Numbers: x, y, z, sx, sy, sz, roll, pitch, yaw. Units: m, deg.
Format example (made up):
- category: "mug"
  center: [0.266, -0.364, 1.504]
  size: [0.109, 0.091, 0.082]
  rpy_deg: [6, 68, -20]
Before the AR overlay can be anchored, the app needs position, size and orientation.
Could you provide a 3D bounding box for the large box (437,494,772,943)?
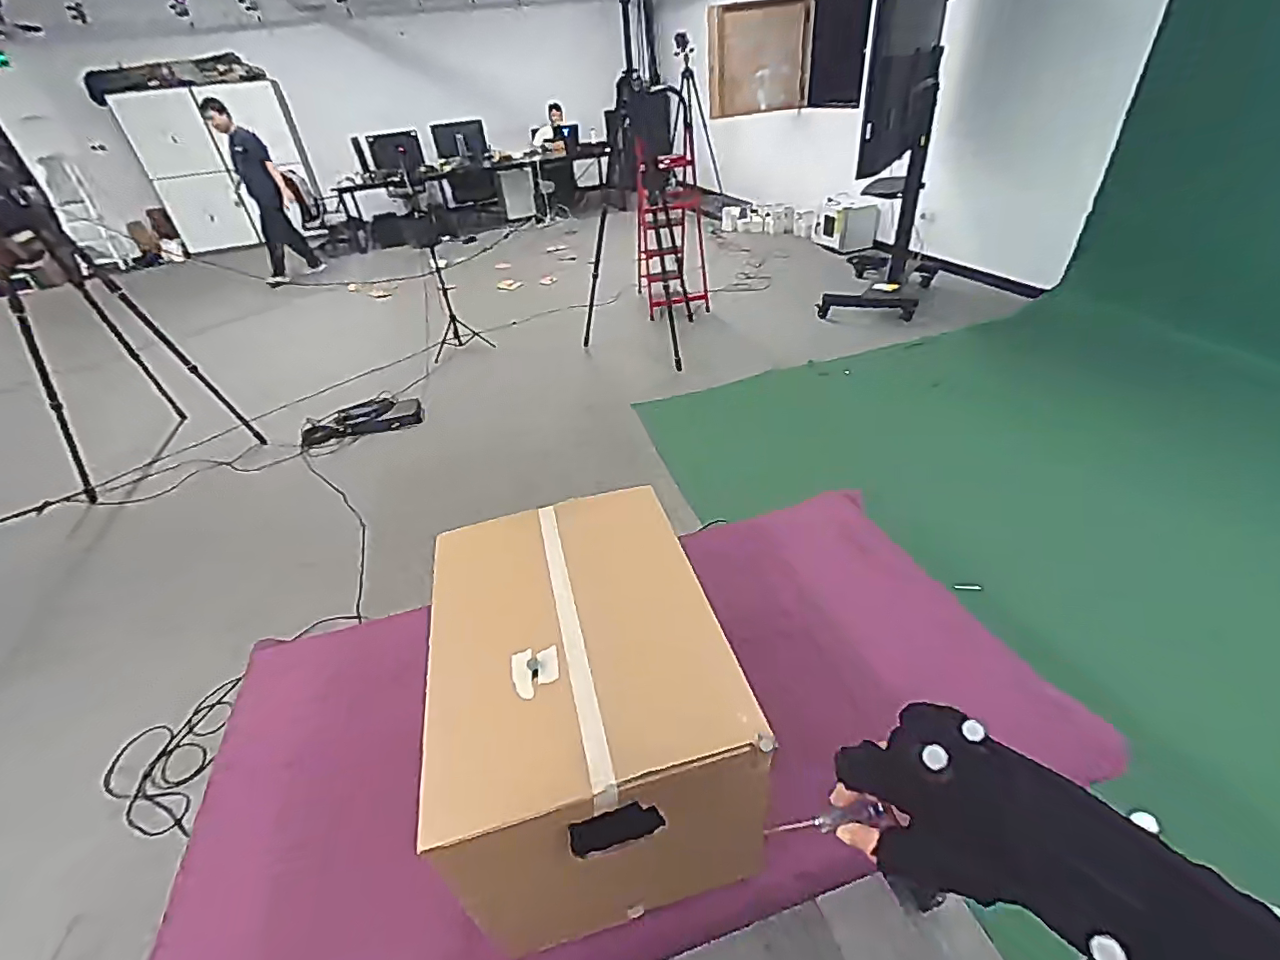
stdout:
- category: "large box"
  center: [-0.066, 0.280, 0.717]
  size: [0.320, 0.320, 0.408]
  rpy_deg: [-13, 37, -9]
